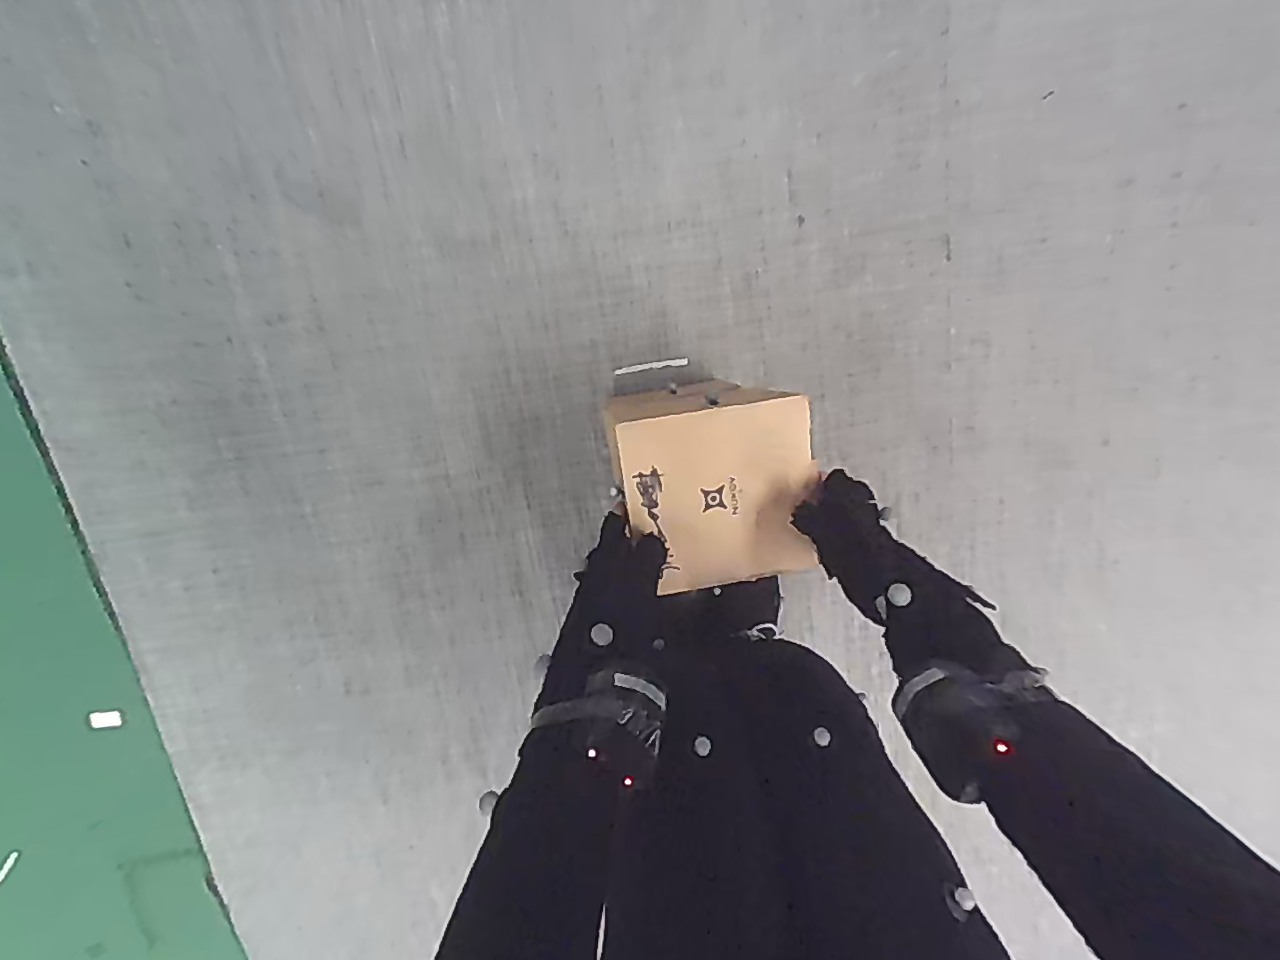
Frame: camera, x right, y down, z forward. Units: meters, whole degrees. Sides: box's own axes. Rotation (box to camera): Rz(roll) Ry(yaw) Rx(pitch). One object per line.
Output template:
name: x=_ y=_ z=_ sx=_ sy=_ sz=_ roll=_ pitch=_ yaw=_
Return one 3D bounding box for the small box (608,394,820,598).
small box: x=0.067 y=0.003 z=0.570 sx=0.179 sy=0.176 sz=0.168 roll=-10 pitch=101 yaw=-4

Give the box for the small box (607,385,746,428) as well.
small box: x=0.055 y=-0.035 z=0.753 sx=0.179 sy=0.176 sz=0.168 roll=-10 pitch=102 yaw=2
